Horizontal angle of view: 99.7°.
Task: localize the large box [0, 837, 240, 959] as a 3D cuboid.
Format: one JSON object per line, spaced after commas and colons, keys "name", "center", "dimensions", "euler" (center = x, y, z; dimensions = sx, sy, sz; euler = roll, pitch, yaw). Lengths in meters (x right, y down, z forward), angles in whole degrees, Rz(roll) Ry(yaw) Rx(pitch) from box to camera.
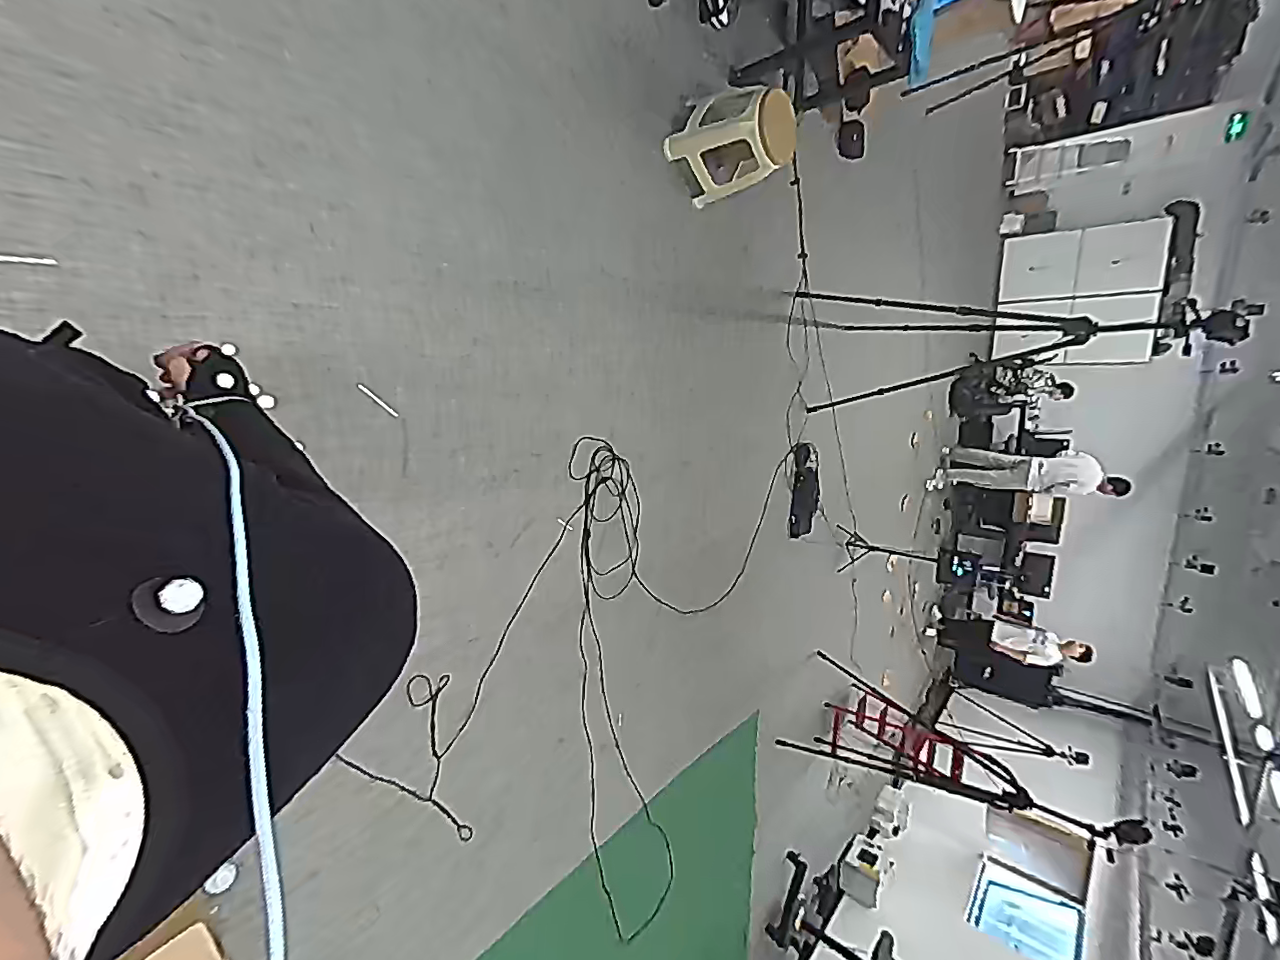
{"name": "large box", "center": [-1.178, 1.124, 1.193], "dimensions": [0.408, 0.320, 0.320], "euler": [-24, 114, -43]}
